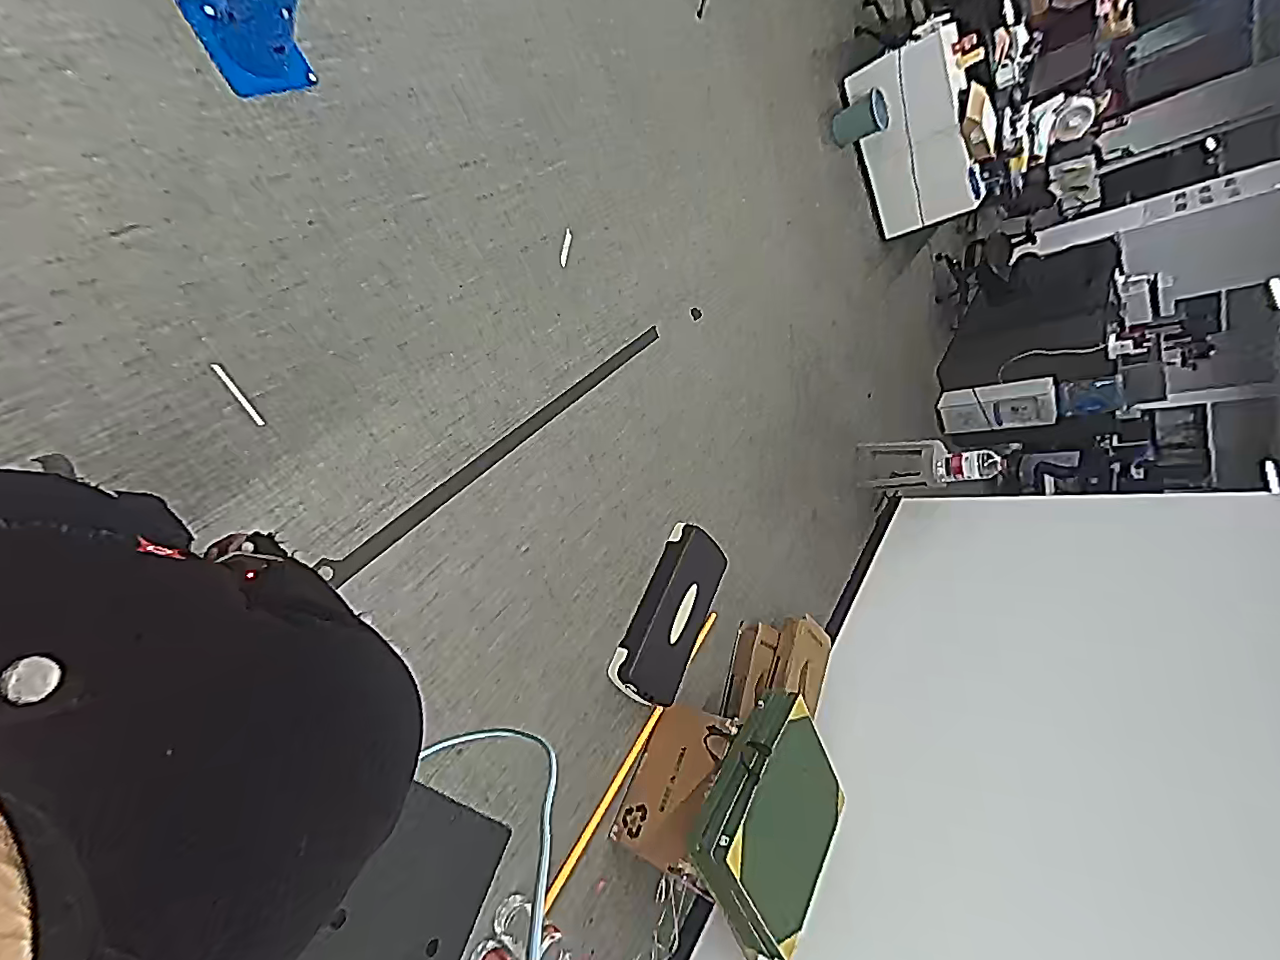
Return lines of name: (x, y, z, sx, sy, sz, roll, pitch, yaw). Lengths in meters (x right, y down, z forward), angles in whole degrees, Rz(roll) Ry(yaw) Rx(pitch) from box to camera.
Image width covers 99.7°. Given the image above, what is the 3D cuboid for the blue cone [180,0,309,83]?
blue cone: (-0.752, -0.994, 1.082, 0.192, 0.380, 0.193, -45, 118, -38)
